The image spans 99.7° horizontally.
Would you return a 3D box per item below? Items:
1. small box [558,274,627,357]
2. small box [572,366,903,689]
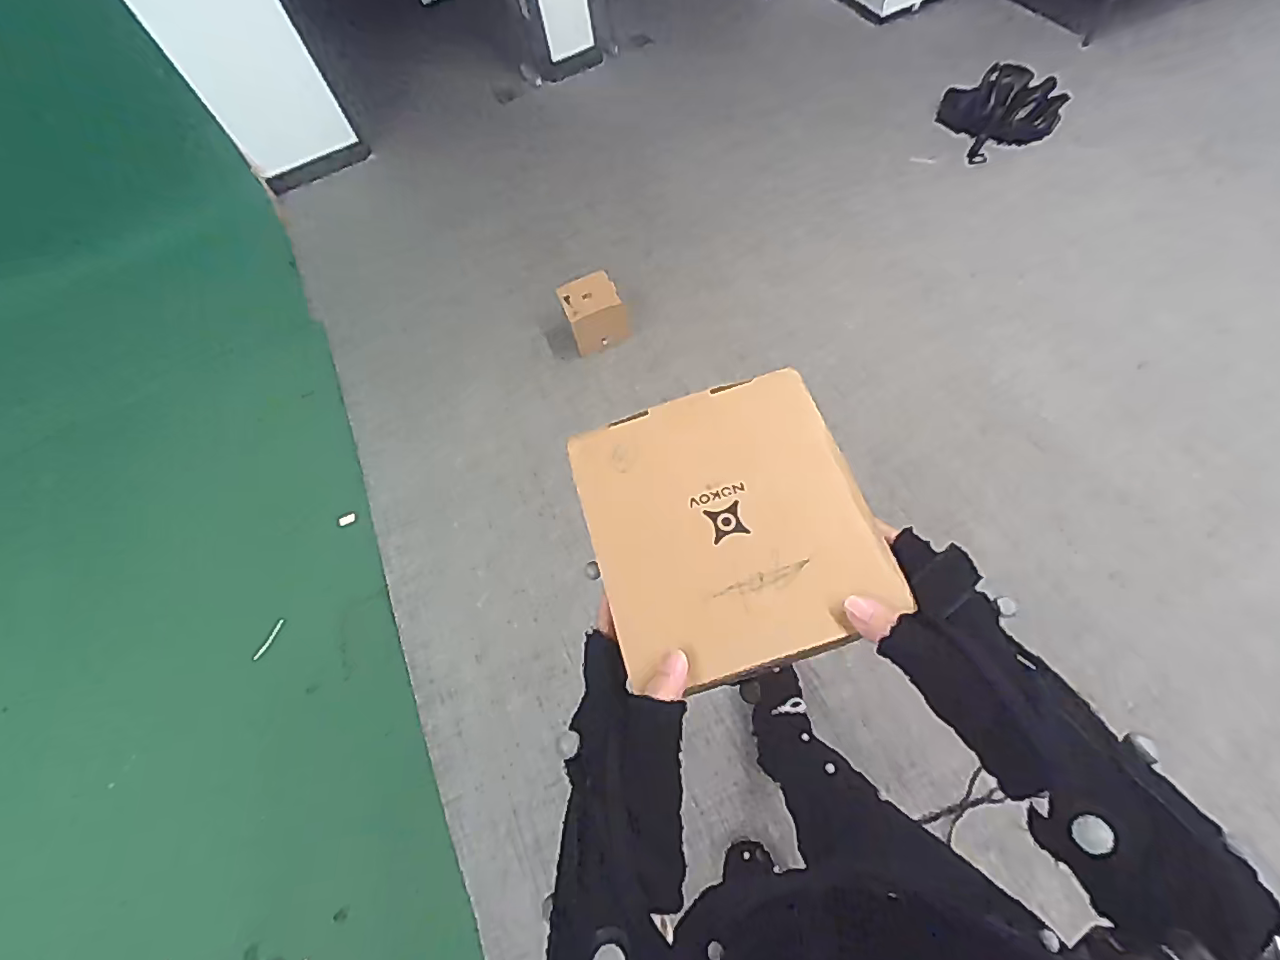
[{"bbox_3d":[-0.150,-0.541,1.792,0.179,0.176,0.168,-22,62,-4],"label":"small box"},{"bbox_3d":[0.060,0.048,0.415,0.168,0.176,0.179,-18,67,-1],"label":"small box"}]
